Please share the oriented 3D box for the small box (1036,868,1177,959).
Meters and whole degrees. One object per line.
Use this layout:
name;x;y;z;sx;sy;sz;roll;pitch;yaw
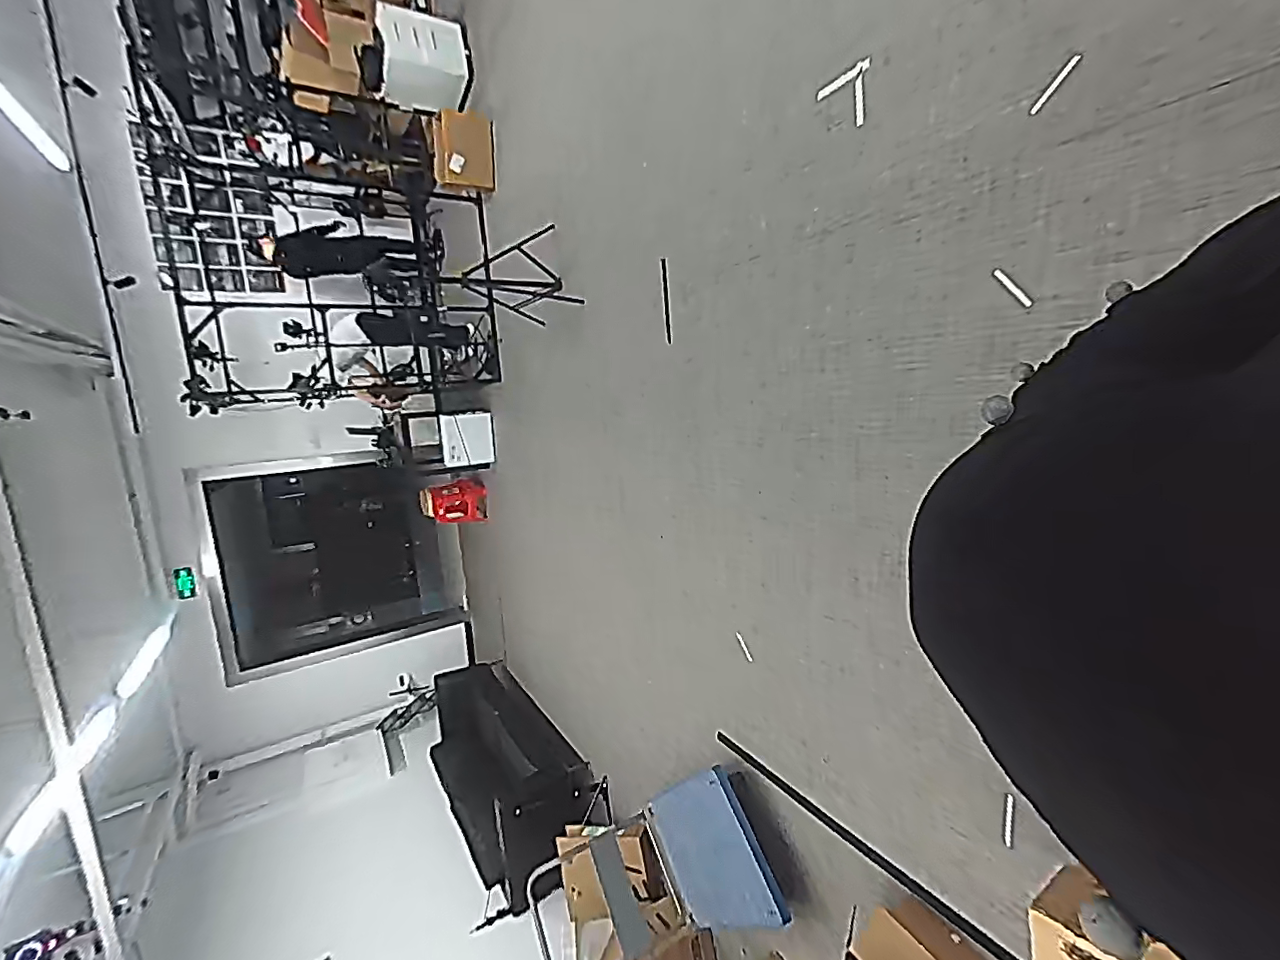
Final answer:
small box;0.908;0.916;1.053;0.168;0.176;0.179;0;99;60
